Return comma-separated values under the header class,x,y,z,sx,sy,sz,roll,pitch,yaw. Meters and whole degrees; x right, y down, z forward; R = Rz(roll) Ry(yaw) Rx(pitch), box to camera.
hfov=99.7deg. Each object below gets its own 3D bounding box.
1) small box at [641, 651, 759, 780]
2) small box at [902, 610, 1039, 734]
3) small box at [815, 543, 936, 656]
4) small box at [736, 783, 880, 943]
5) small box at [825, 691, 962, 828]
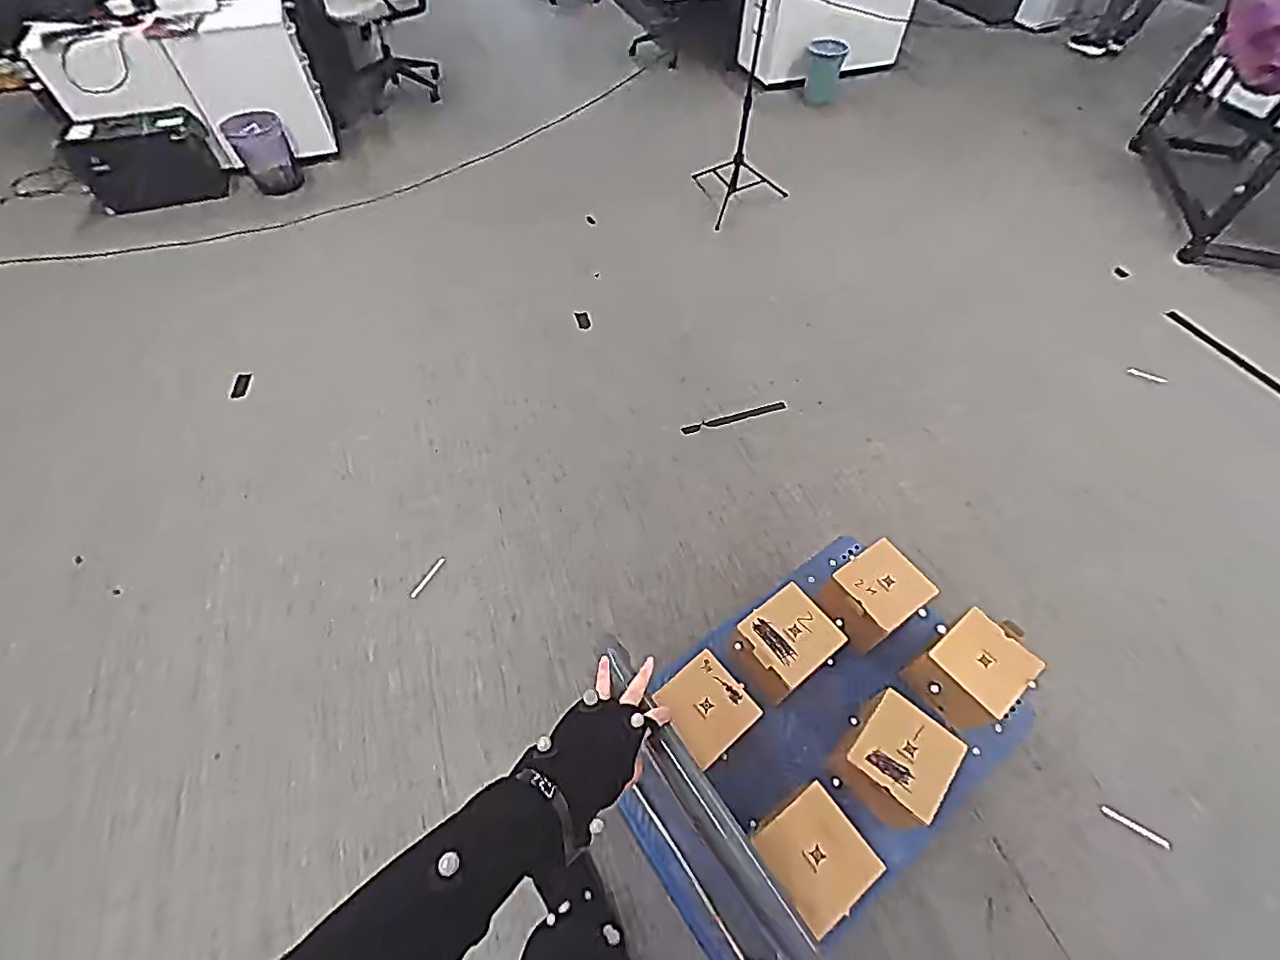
class,x,y,z,sx,sy,sz,roll,pitch,yaw
small box,0.118,0.495,1.127,0.179,0.176,0.168,-33,63,-21
small box,0.709,0.426,1.186,0.179,0.176,0.168,-33,62,-21
small box,0.545,0.285,1.278,0.179,0.176,0.168,-29,60,-18
small box,0.294,0.696,0.994,0.179,0.176,0.168,-29,61,-20
small box,0.497,0.565,1.087,0.168,0.176,0.179,37,62,22
